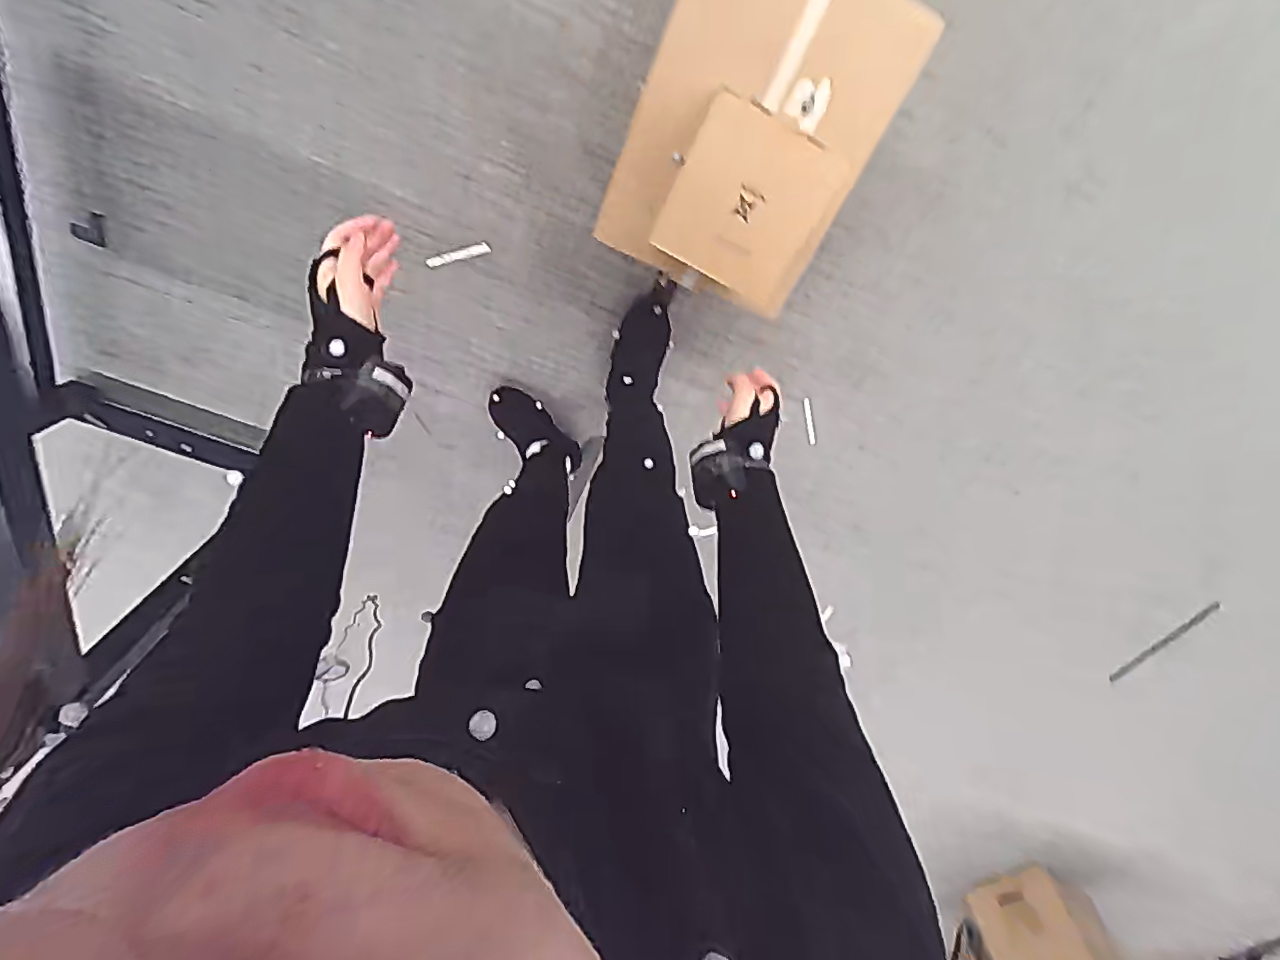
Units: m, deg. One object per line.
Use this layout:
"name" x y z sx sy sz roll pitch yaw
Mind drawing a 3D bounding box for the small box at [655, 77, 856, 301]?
"small box" 0.129 -0.361 0.678 0.168 0.176 0.179 25 121 -12

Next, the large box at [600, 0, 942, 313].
"large box" 0.159 -0.543 0.851 0.320 0.320 0.408 21 121 -12
